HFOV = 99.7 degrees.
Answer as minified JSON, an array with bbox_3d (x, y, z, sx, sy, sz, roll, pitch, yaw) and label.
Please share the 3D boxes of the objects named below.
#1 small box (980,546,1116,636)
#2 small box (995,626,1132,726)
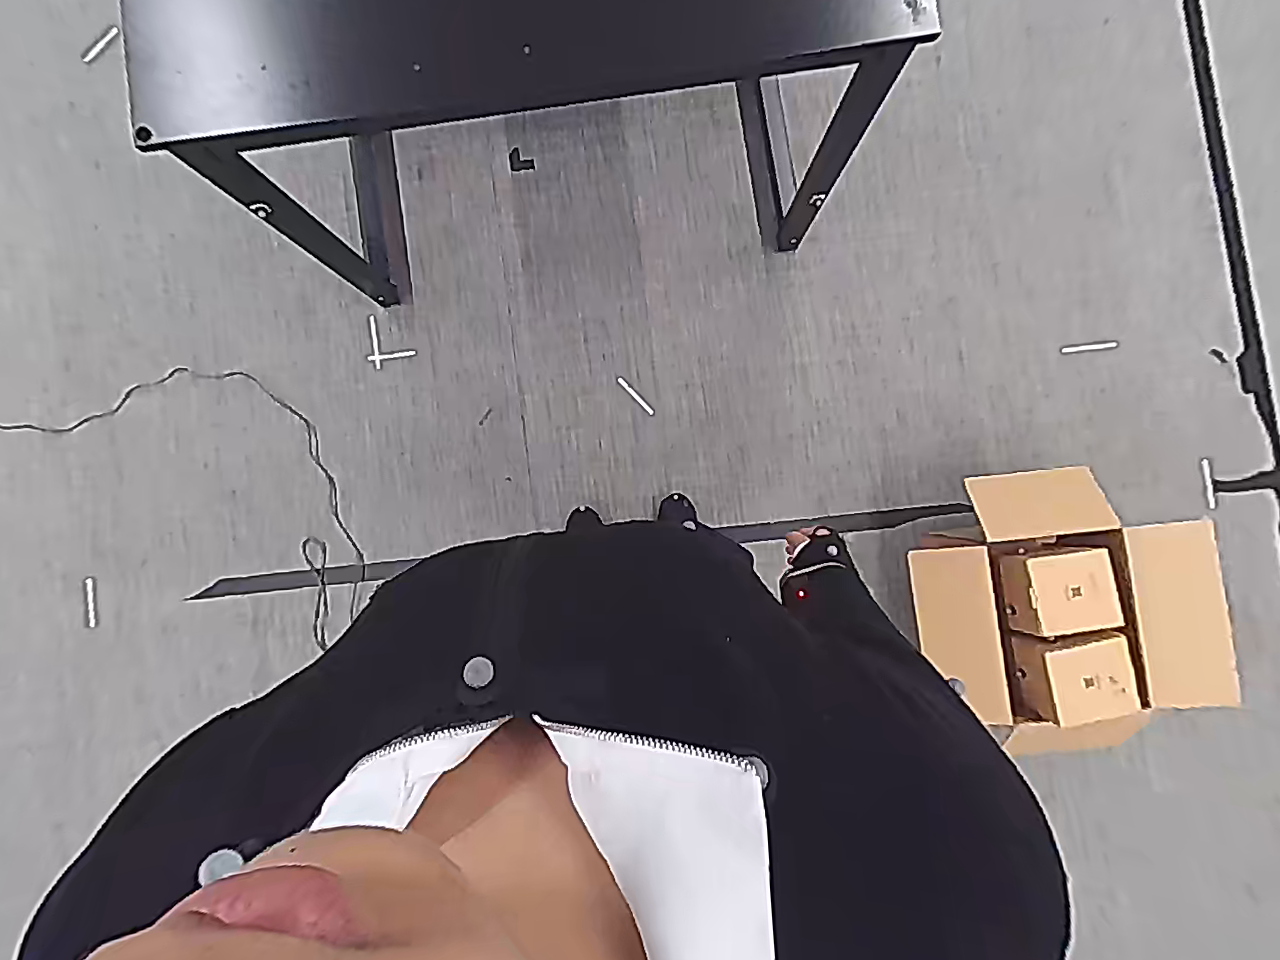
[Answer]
[{"bbox_3d":[0.908,0.245,1.227,0.179,0.176,0.168,-9,85,-1],"label":"small box"},{"bbox_3d":[0.939,0.422,1.219,0.179,0.176,0.168,-13,92,0],"label":"small box"}]
